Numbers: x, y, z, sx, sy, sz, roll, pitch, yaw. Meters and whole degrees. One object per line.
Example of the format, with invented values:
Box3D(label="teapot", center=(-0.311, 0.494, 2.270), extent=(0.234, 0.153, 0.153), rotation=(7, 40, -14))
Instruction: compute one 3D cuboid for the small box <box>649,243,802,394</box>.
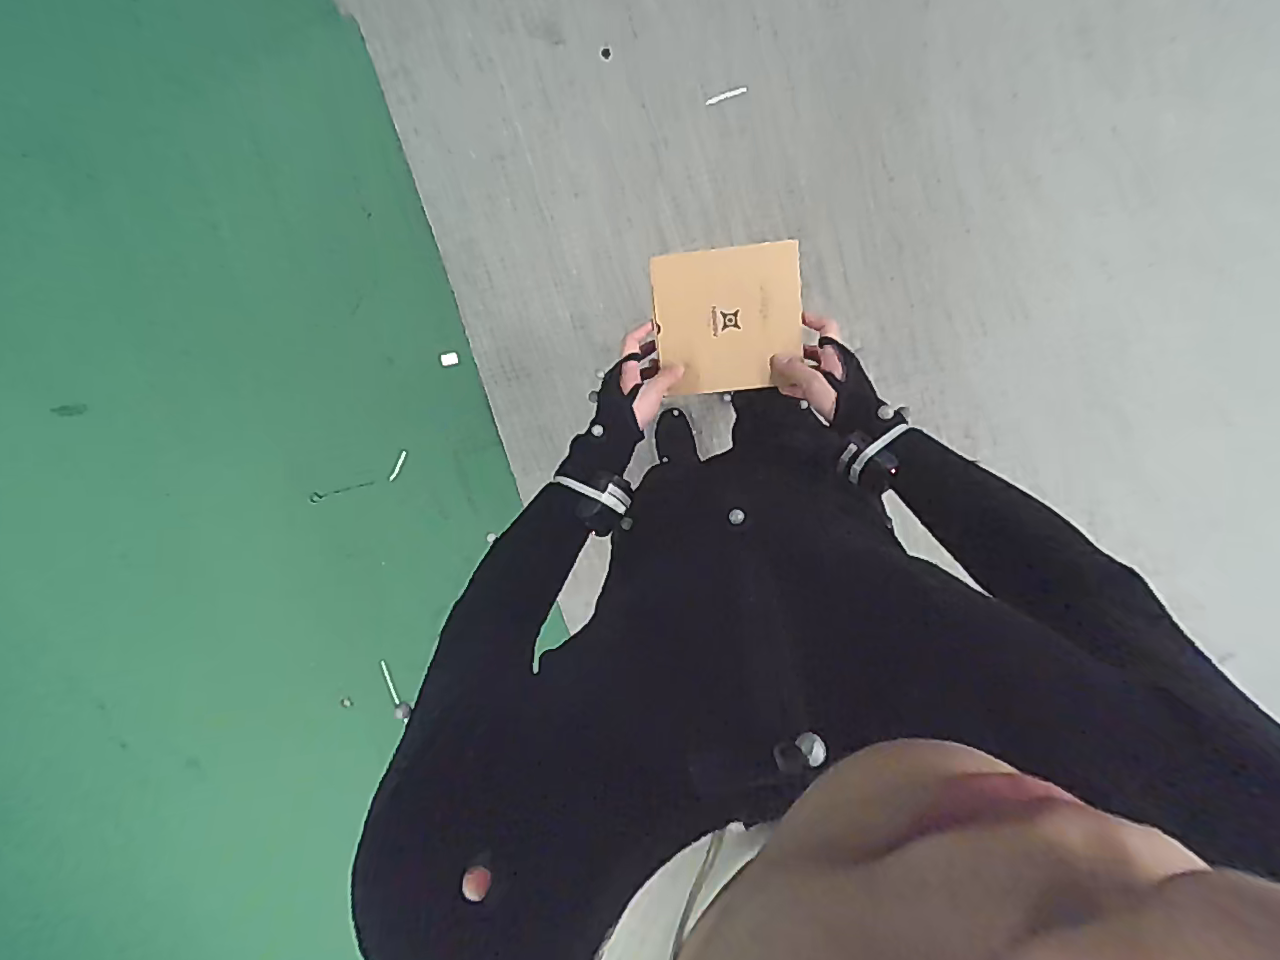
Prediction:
Box3D(label="small box", center=(0.110, -0.202, 0.721), extent=(0.179, 0.176, 0.168), rotation=(-4, 100, 5))

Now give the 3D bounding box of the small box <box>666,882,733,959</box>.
Box3D(label="small box", center=(0.178, 1.370, 1.651), extent=(0.168, 0.176, 0.179), rotation=(-16, 101, 6))
